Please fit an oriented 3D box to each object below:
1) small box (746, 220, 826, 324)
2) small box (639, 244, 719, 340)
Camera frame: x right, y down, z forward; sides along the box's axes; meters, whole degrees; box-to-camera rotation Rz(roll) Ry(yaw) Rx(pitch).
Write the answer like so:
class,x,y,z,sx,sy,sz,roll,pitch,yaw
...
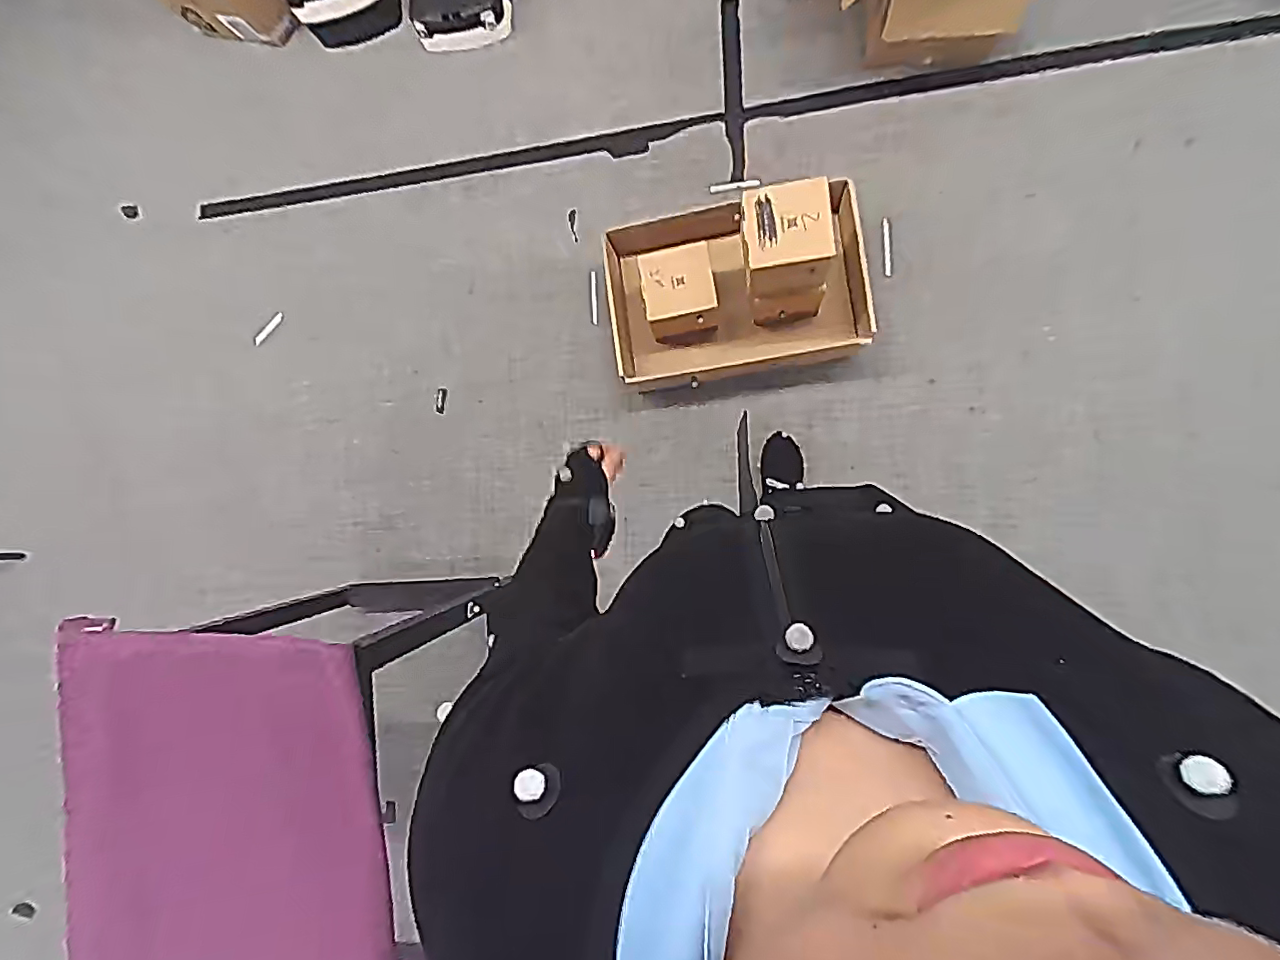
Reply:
class,x,y,z,sx,sy,sz,roll,pitch,yaw
small box,0.357,-0.509,1.345,0.168,0.176,0.179,-8,88,11
small box,0.103,-0.474,1.386,0.179,0.176,0.168,-10,87,9
